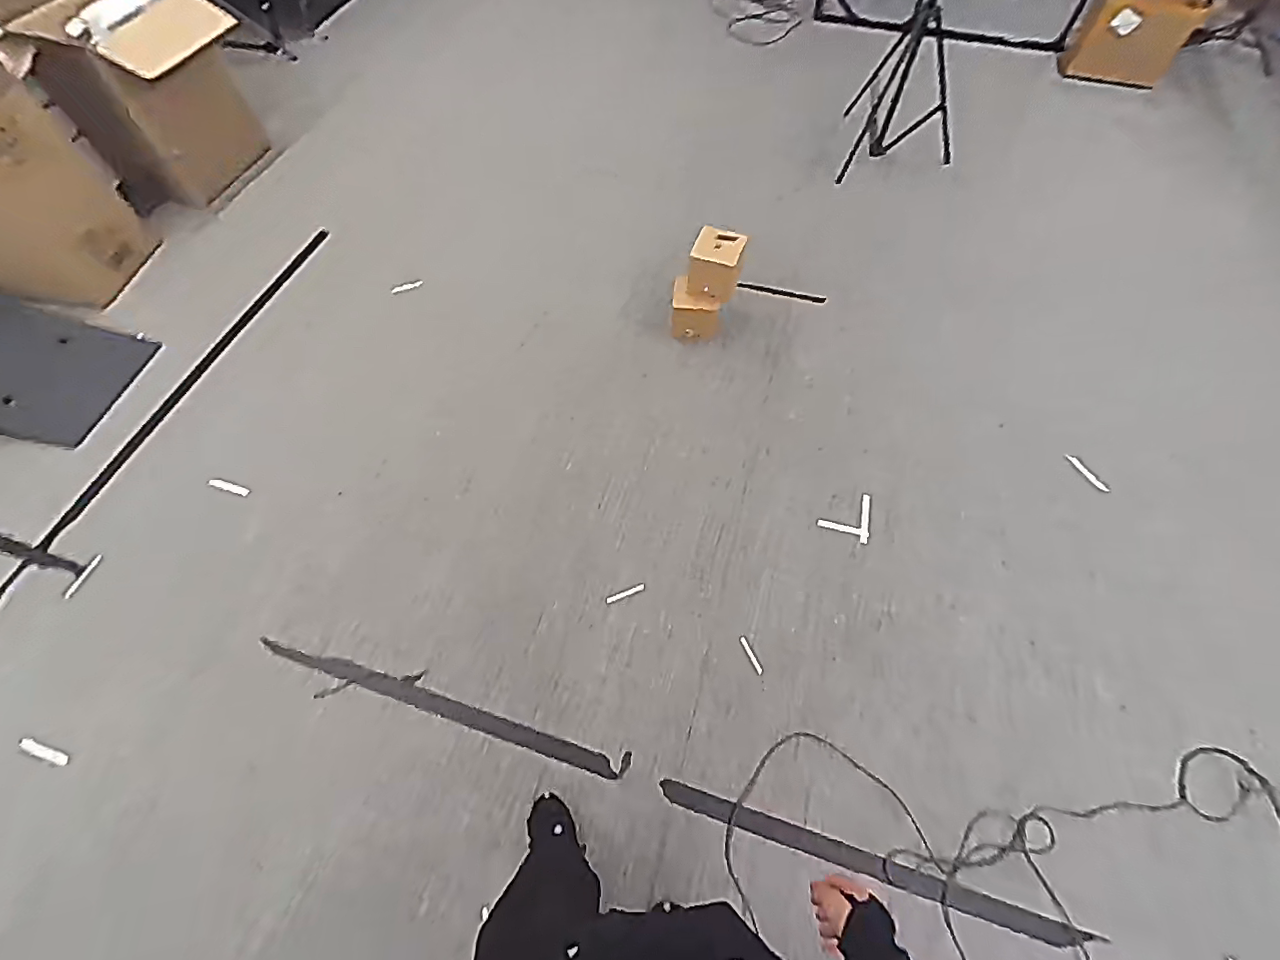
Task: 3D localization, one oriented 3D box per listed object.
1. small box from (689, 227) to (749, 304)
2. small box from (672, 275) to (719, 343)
[{"bbox_3d":[0.277,-0.764,1.928,0.168,0.176,0.179,18,62,11],"label":"small box"},{"bbox_3d":[0.211,-0.648,2.051,0.168,0.176,0.179,5,61,4],"label":"small box"}]
